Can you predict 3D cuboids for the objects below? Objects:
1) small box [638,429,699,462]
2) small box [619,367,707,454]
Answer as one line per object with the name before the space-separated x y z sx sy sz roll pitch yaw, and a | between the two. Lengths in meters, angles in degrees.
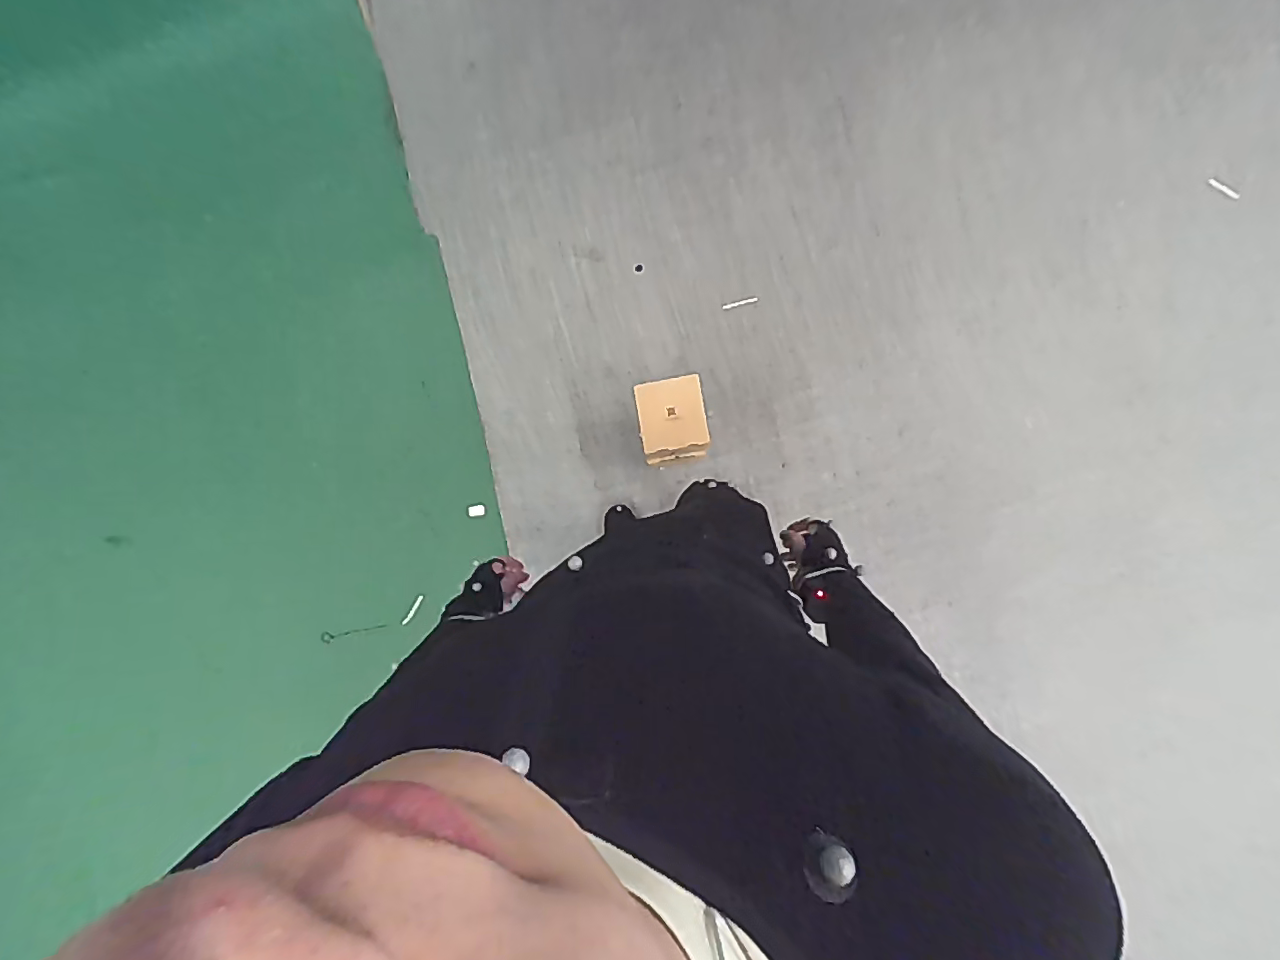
small box | 0.078 -0.150 1.565 0.168 0.176 0.179 -9 87 3
small box | 0.064 -0.174 1.412 0.179 0.176 0.168 22 91 5
